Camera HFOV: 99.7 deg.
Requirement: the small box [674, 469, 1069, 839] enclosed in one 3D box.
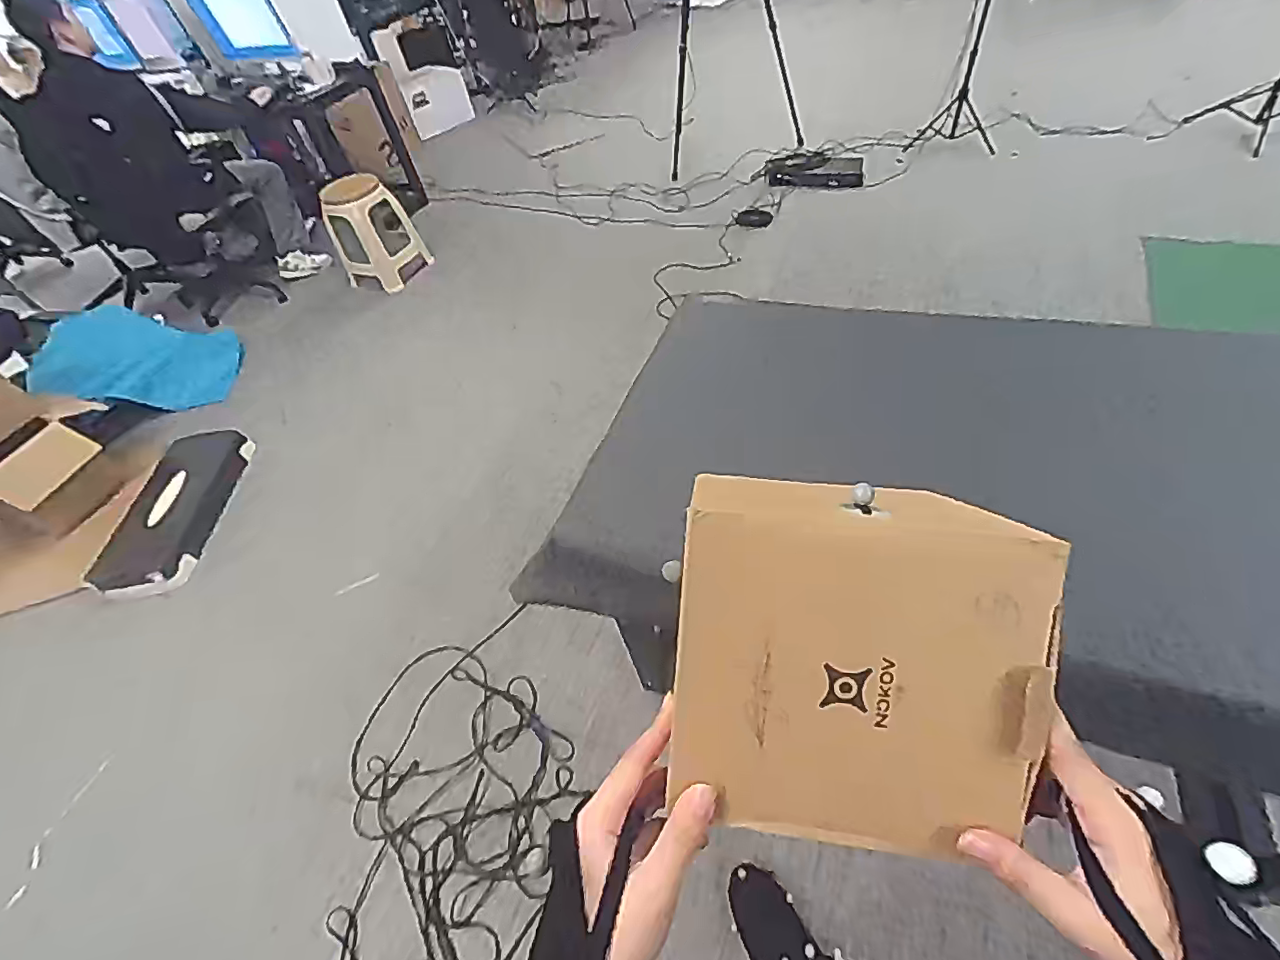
[{"bbox_3d":[0.119,0.083,0.347,0.179,0.176,0.168,4,95,8],"label":"small box"}]
